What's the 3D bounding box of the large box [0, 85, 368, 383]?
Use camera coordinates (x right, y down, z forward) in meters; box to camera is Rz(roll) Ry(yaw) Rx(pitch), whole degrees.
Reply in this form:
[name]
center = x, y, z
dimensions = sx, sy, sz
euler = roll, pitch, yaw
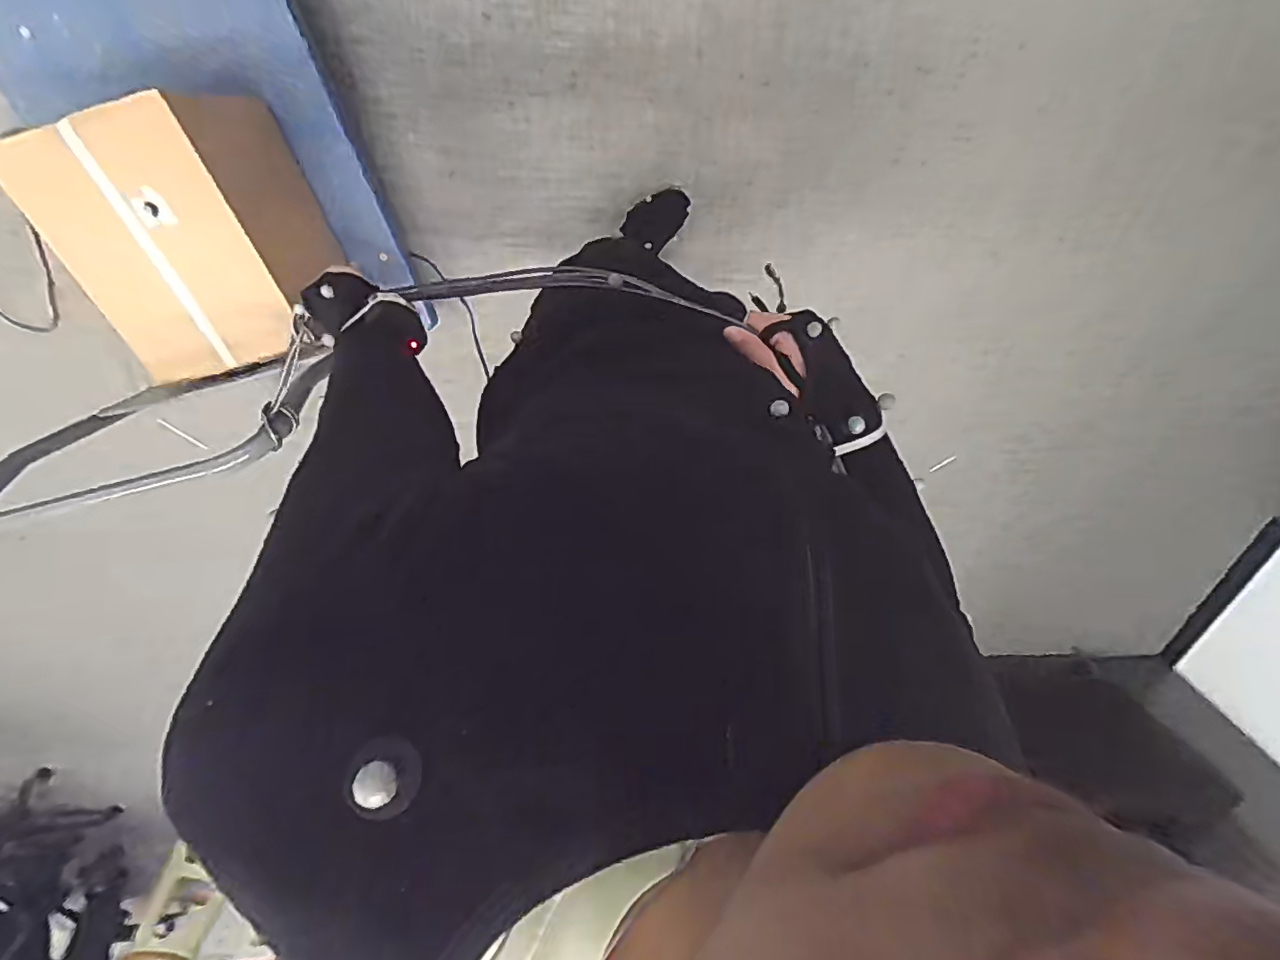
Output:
[large box]
center = -0.807, -0.456, 1.028
dimensions = 0.320, 0.320, 0.408
euler = -15, 121, 4
